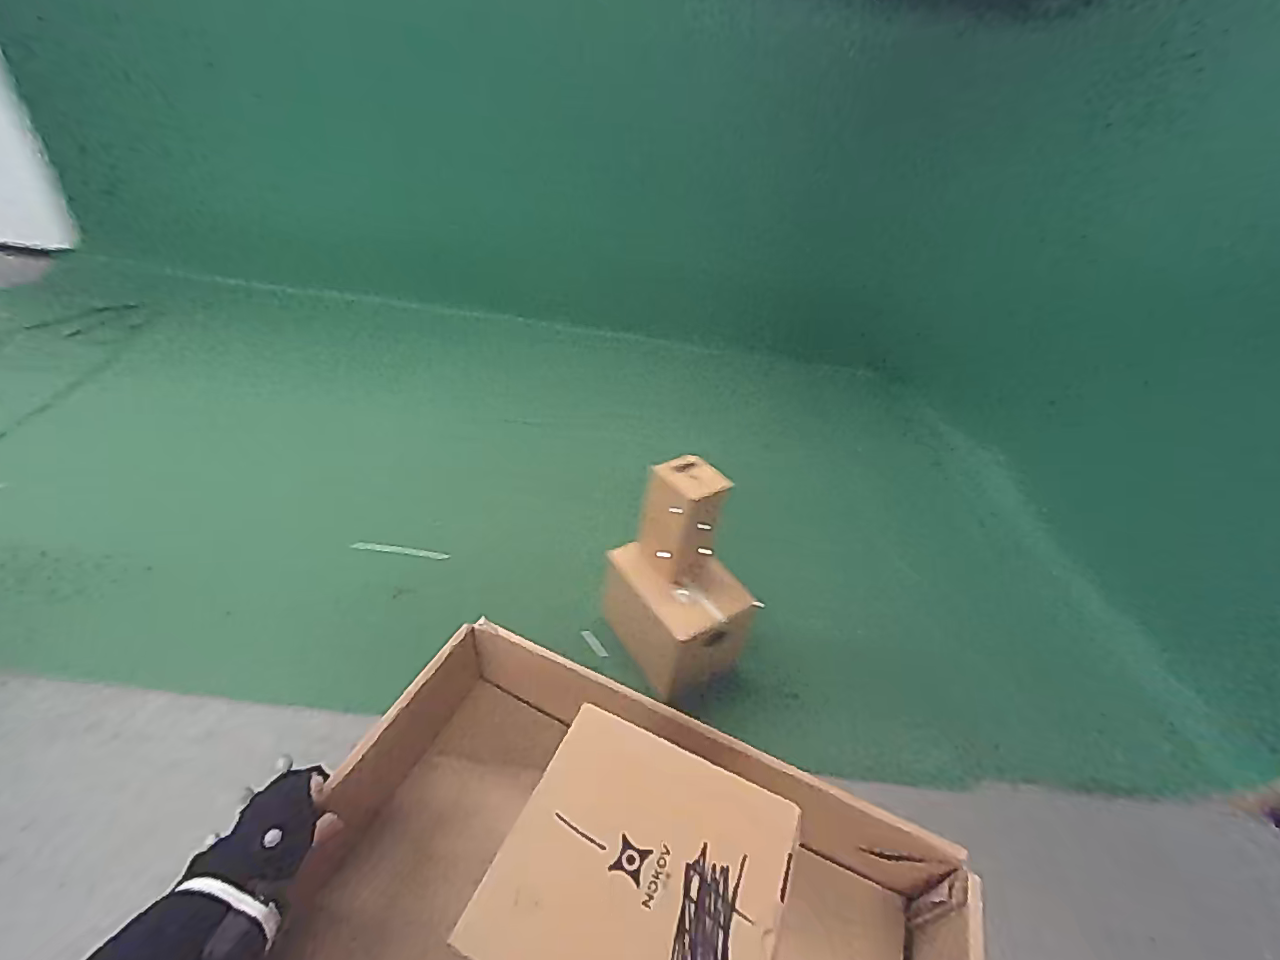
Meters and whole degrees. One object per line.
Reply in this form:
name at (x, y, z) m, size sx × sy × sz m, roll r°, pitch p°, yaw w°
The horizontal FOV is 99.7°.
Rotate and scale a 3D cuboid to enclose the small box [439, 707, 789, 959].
small box at (-0.011, 0.310, 0.396) m, size 0.179 × 0.176 × 0.168 m, roll 18°, pitch 41°, yaw 16°
